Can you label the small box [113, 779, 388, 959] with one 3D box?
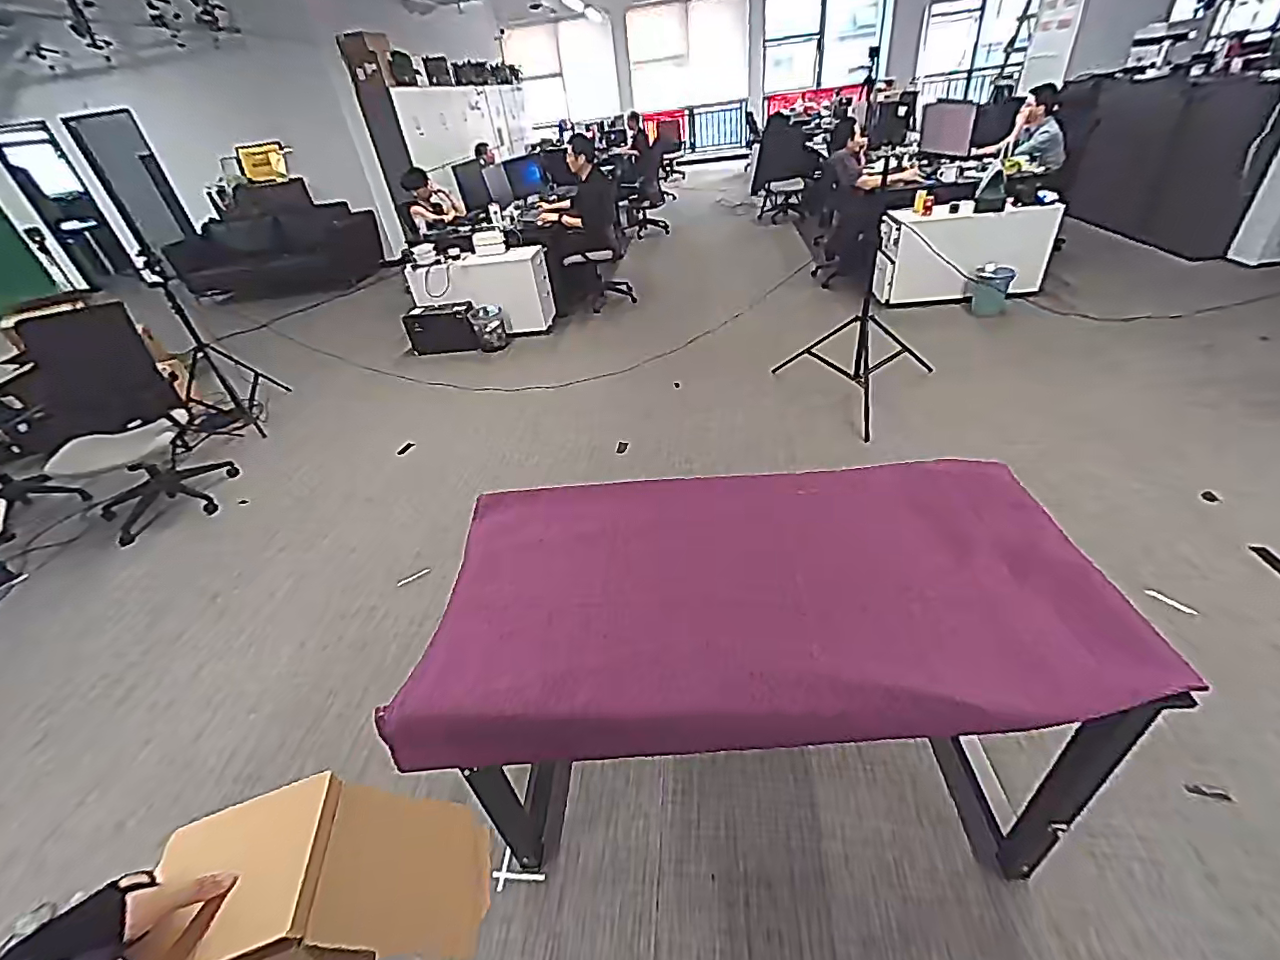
[{"bbox_3d":[-0.387,0.462,0.568,0.179,0.176,0.168,-13,27,-10],"label":"small box"}]
